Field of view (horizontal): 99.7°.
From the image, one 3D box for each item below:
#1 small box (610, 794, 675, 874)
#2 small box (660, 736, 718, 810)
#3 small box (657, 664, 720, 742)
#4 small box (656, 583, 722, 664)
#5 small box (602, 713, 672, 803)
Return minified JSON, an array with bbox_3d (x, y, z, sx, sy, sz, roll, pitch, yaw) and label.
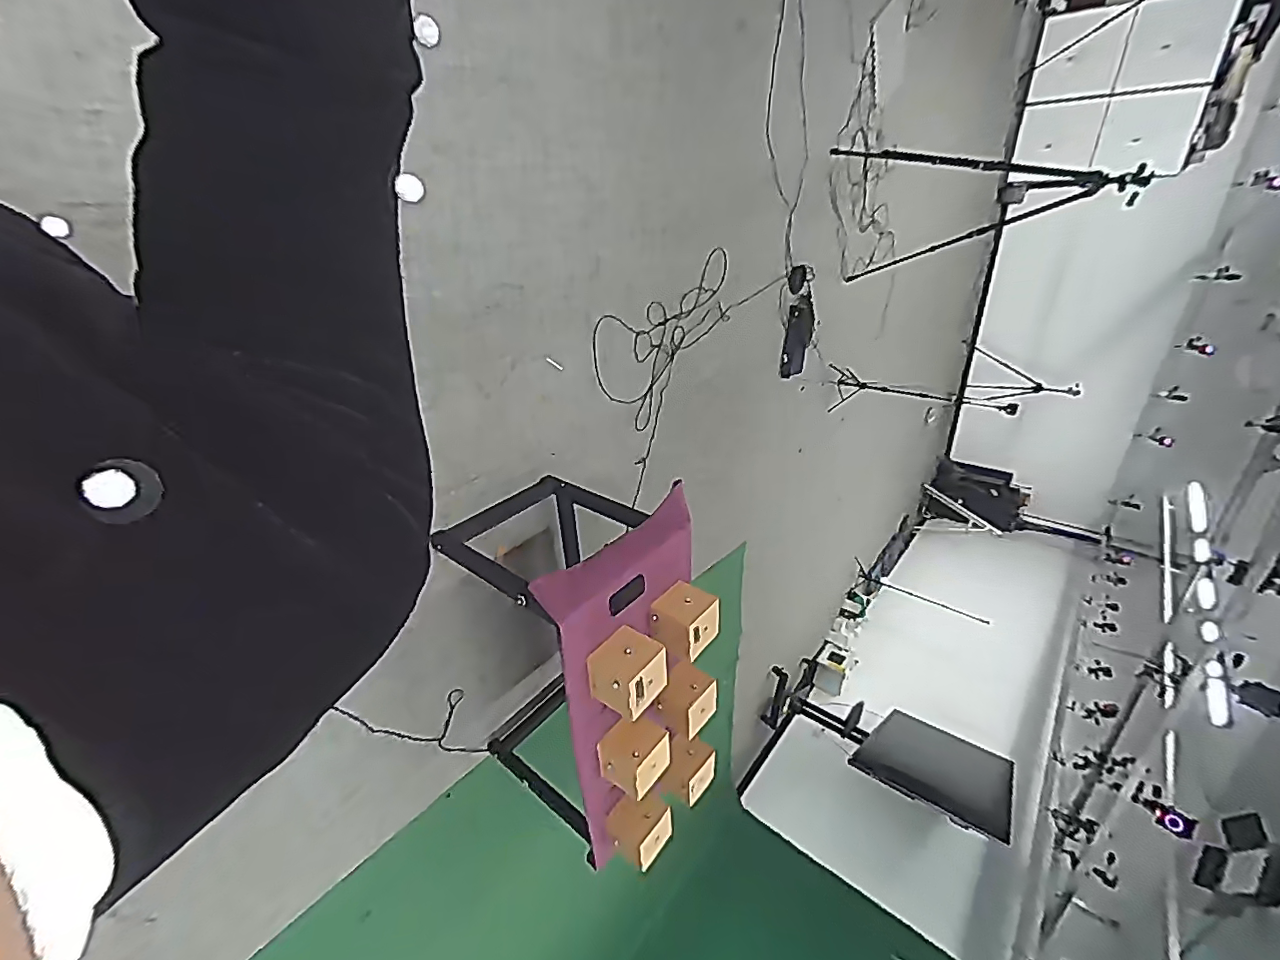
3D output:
[{"bbox_3d":[0.009,1.280,1.991,0.179,0.176,0.168,-31,126,-41],"label":"small box"},{"bbox_3d":[0.199,1.174,2.193,0.179,0.176,0.168,-29,125,-43],"label":"small box"},{"bbox_3d":[0.182,0.824,2.020,0.179,0.176,0.168,-29,126,-41],"label":"small box"},{"bbox_3d":[0.164,0.484,1.842,0.179,0.176,0.168,-31,128,-41],"label":"small box"},{"bbox_3d":[-0.008,0.927,1.822,0.179,0.176,0.168,-31,128,-42],"label":"small box"}]
